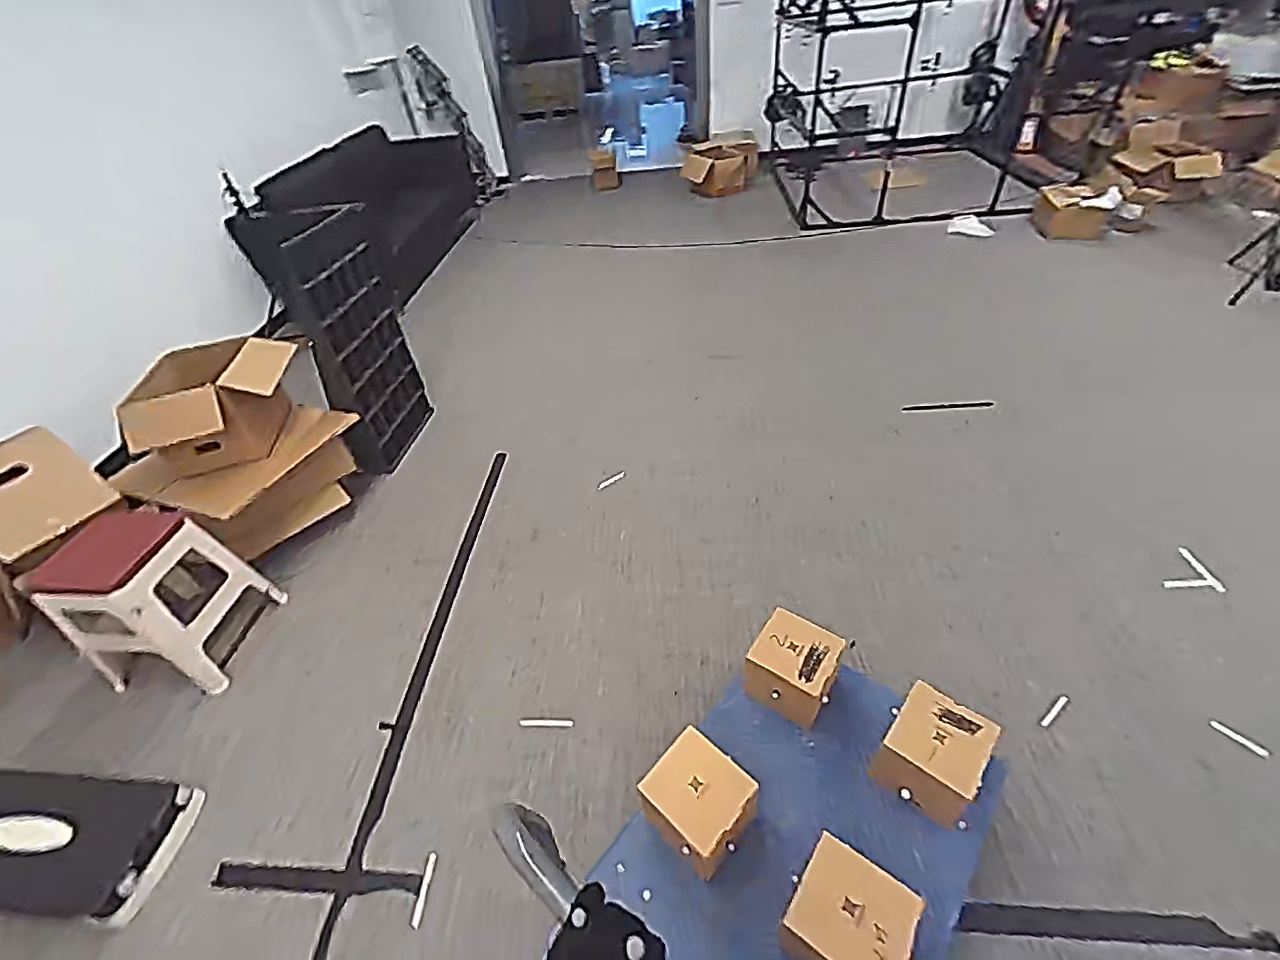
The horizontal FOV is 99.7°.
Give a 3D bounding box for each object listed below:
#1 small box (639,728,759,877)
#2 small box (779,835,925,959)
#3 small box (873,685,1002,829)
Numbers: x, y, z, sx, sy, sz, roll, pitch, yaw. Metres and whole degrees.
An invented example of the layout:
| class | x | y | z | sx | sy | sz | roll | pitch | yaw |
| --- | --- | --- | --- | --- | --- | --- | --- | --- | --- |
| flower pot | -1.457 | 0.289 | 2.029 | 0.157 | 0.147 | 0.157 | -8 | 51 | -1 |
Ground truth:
| class | x | y | z | sx | sy | sz | roll | pitch | yaw |
| --- | --- | --- | --- | --- | --- | --- | --- | --- | --- |
| small box | 0.117 | 0.653 | 1.093 | 0.179 | 0.176 | 0.168 | 31 | 53 | 33 |
| small box | 0.354 | 0.769 | 0.931 | 0.179 | 0.176 | 0.168 | 25 | 50 | 30 |
| small box | 0.606 | 0.573 | 1.120 | 0.168 | 0.176 | 0.179 | 28 | 53 | 33 |
